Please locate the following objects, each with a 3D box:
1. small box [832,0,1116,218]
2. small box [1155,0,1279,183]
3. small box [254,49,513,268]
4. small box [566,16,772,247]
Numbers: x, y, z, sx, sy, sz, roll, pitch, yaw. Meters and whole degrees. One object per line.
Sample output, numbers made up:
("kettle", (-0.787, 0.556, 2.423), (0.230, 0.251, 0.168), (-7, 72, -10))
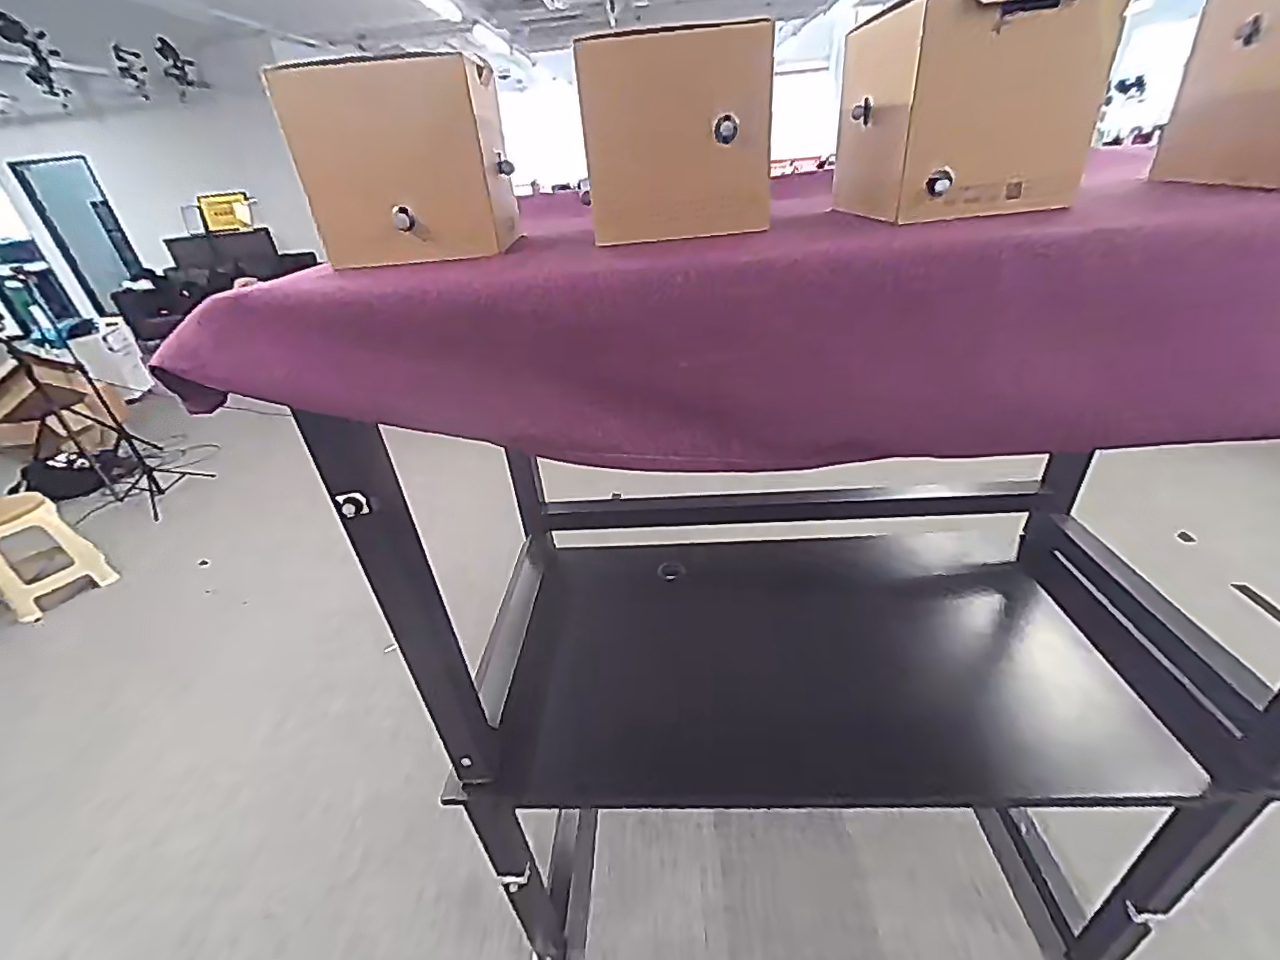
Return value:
("small box", (0.299, -0.355, 0.522), (0.168, 0.176, 0.179), (-6, 30, 0))
("small box", (0.629, -0.366, 0.482), (0.168, 0.176, 0.179), (-2, 31, 8))
("small box", (-0.239, -0.327, 0.564), (0.179, 0.176, 0.168), (-5, 31, -1))
("small box", (0.029, -0.349, 0.560), (0.179, 0.176, 0.168), (-5, 30, 2))
